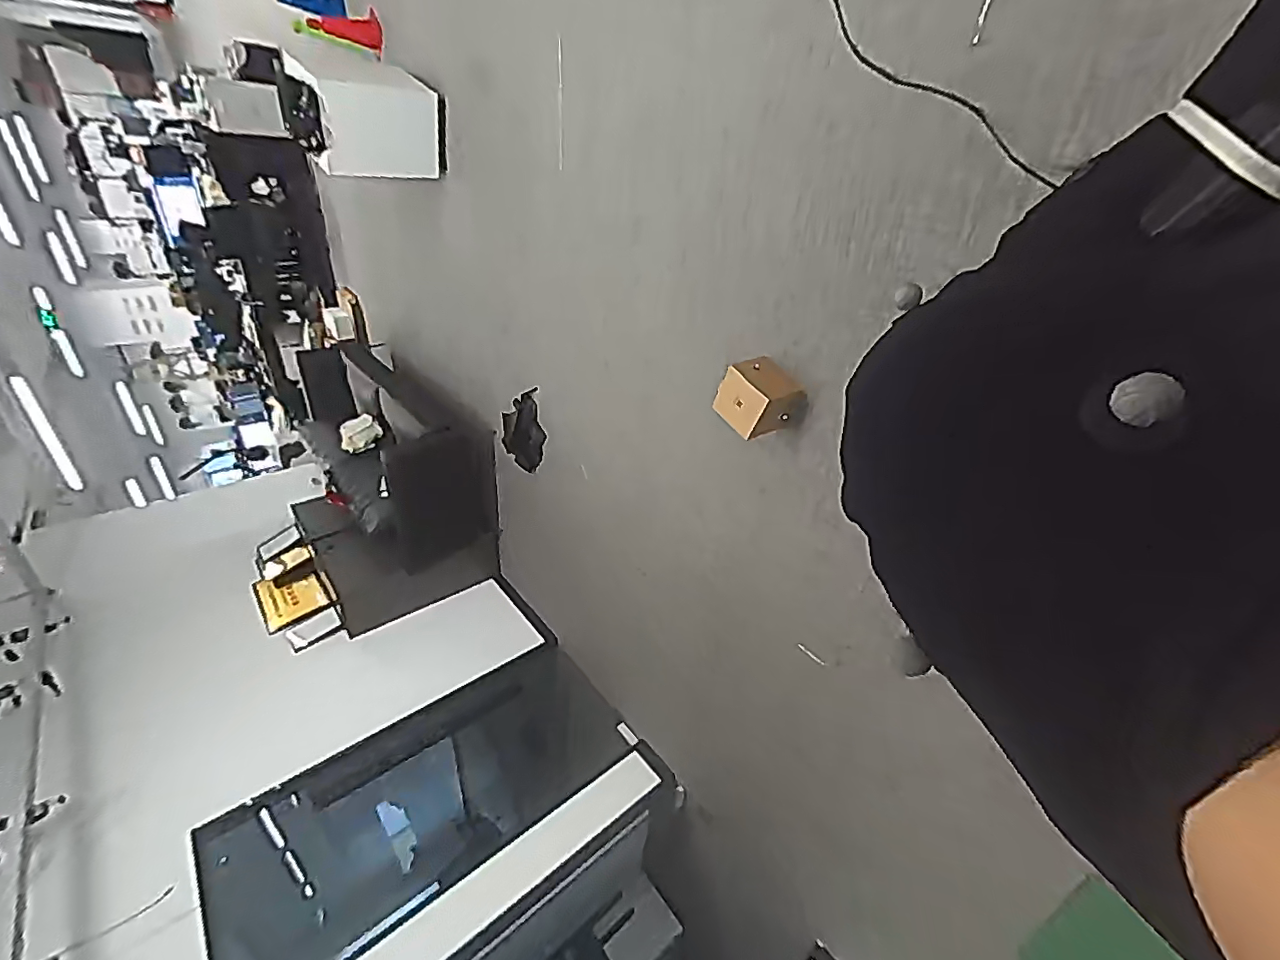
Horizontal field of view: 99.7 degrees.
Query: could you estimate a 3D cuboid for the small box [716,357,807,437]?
[{"bbox_3d":[0.373,-0.263,1.667,0.179,0.176,0.168,49,141,26],"label":"small box"}]
